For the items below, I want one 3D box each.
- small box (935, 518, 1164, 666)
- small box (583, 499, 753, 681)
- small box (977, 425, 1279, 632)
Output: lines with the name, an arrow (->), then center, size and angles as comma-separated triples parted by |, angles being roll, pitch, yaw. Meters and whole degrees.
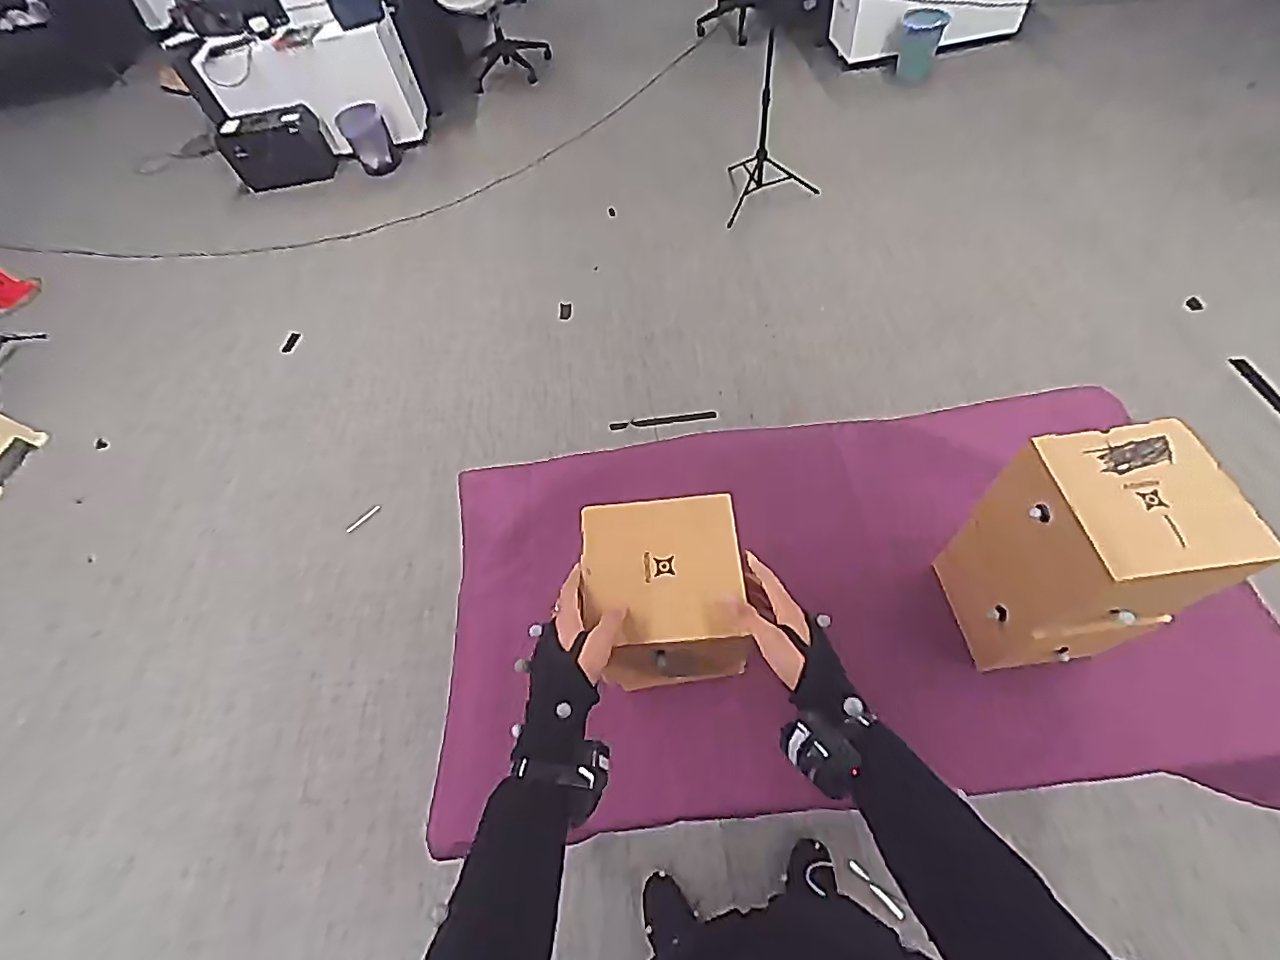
small box -> 0.555, 0.157, 0.767 | 0.168, 0.176, 0.179 | -8, 57, 2
small box -> 0.033, 0.140, 0.655 | 0.179, 0.176, 0.168 | -6, 58, 5
small box -> 0.537, 0.062, 0.634 | 0.168, 0.176, 0.179 | -8, 58, 3
